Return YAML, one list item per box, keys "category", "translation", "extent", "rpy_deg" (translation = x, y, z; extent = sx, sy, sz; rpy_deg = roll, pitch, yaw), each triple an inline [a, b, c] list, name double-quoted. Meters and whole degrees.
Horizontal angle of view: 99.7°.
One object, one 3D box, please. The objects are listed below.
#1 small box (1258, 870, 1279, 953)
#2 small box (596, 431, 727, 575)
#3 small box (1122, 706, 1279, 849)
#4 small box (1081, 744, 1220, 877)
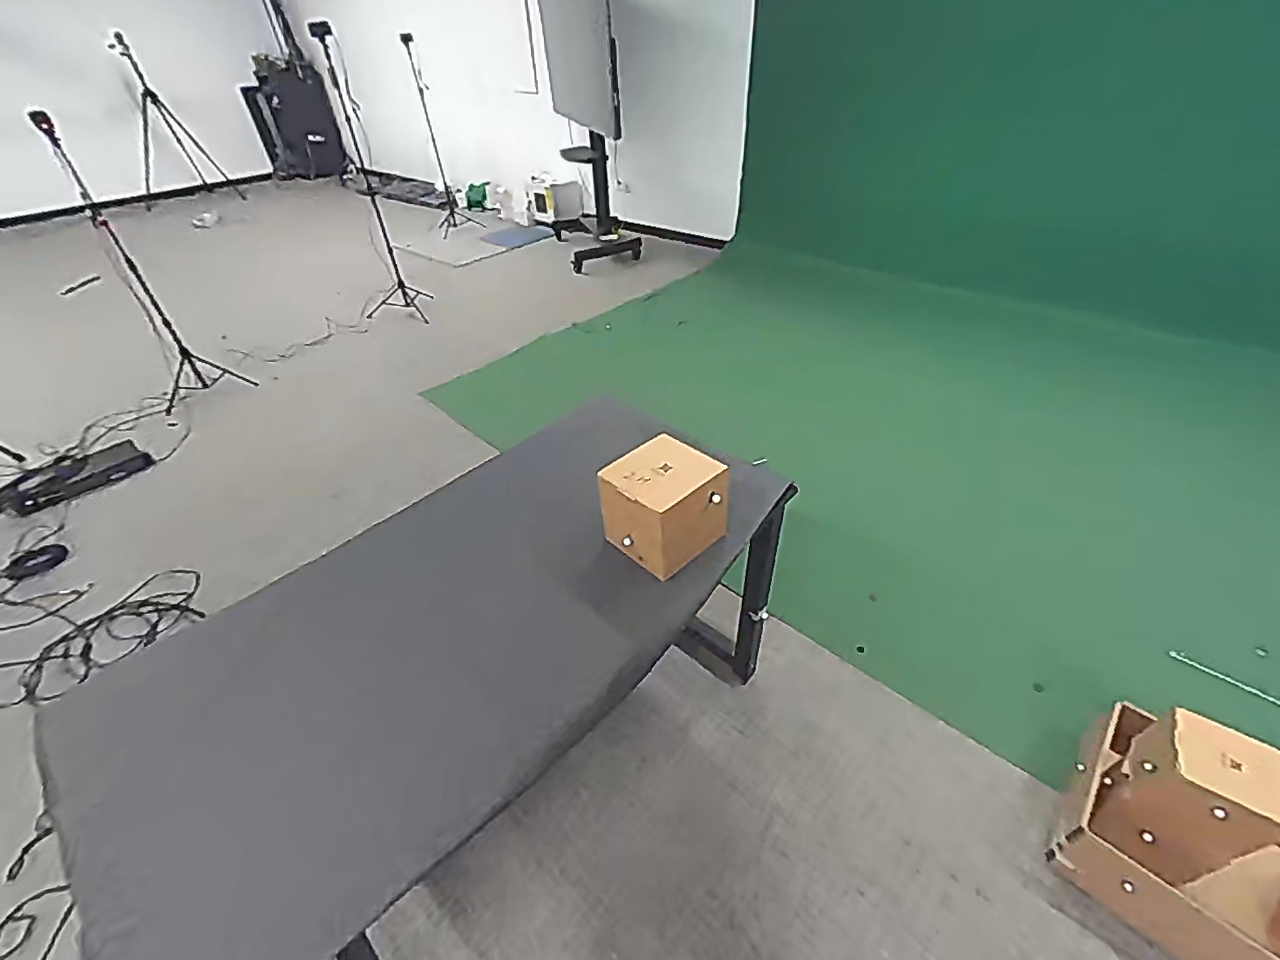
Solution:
- category: "small box"
  translation: [1.363, 0.865, 1.040]
  extent: [0.179, 0.176, 0.168]
  rpy_deg: [-30, 47, -27]
- category: "small box"
  translation: [0.040, 0.040, 1.007]
  extent: [0.179, 0.176, 0.168]
  rpy_deg: [-33, 46, -30]
- category: "small box"
  translation: [1.127, 0.607, 1.099]
  extent: [0.179, 0.176, 0.168]
  rpy_deg: [24, 48, 25]
- category: "small box"
  translation: [1.135, 0.734, 1.204]
  extent: [0.179, 0.176, 0.168]
  rpy_deg: [31, 51, 34]
